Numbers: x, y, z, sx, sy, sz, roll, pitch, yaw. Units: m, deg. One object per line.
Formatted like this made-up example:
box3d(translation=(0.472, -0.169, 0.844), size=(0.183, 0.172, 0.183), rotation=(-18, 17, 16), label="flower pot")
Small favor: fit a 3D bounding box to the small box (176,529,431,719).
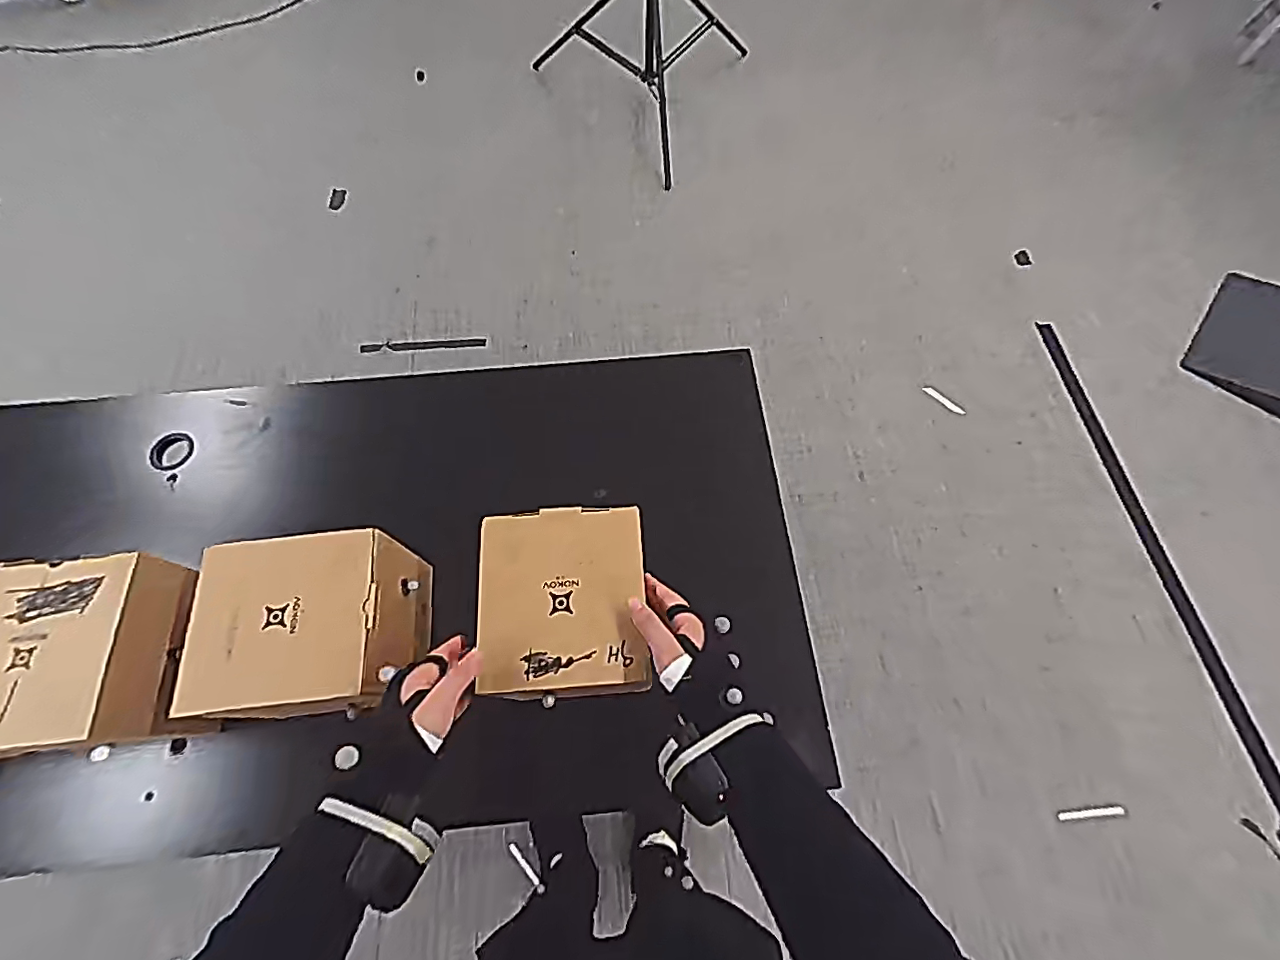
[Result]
box3d(translation=(-0.347, 0.165, 0.601), size=(0.179, 0.176, 0.168), rotation=(-7, 66, -2), label="small box")
